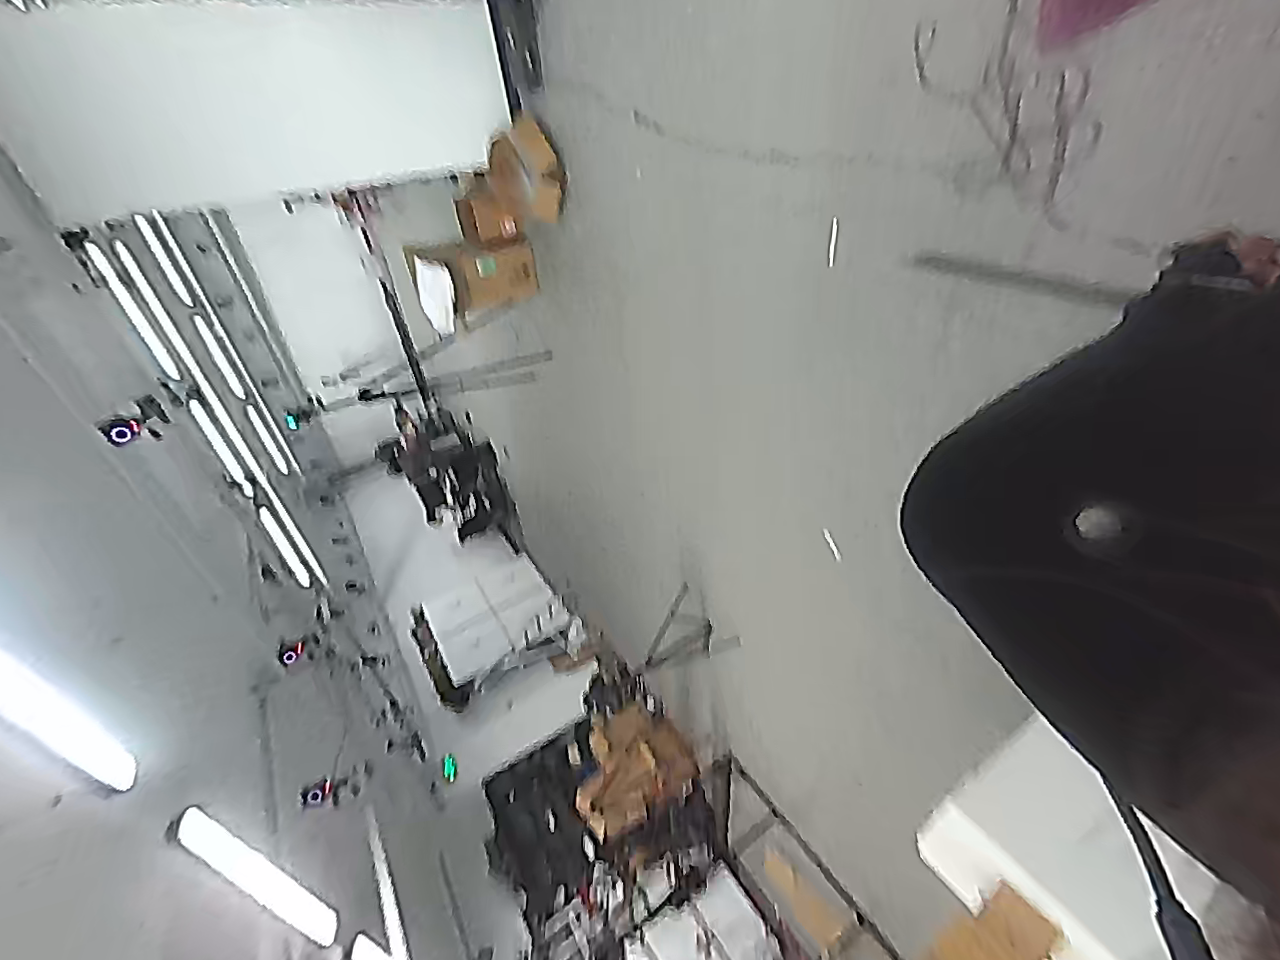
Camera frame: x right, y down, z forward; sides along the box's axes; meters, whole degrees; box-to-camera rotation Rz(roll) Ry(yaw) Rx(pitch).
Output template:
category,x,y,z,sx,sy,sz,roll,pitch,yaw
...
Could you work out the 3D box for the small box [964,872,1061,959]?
category,x,y,z,sx,sy,sz,roll,pitch,yaw
small box,1.028,1.260,1.513,0.179,0.176,0.168,37,144,48
